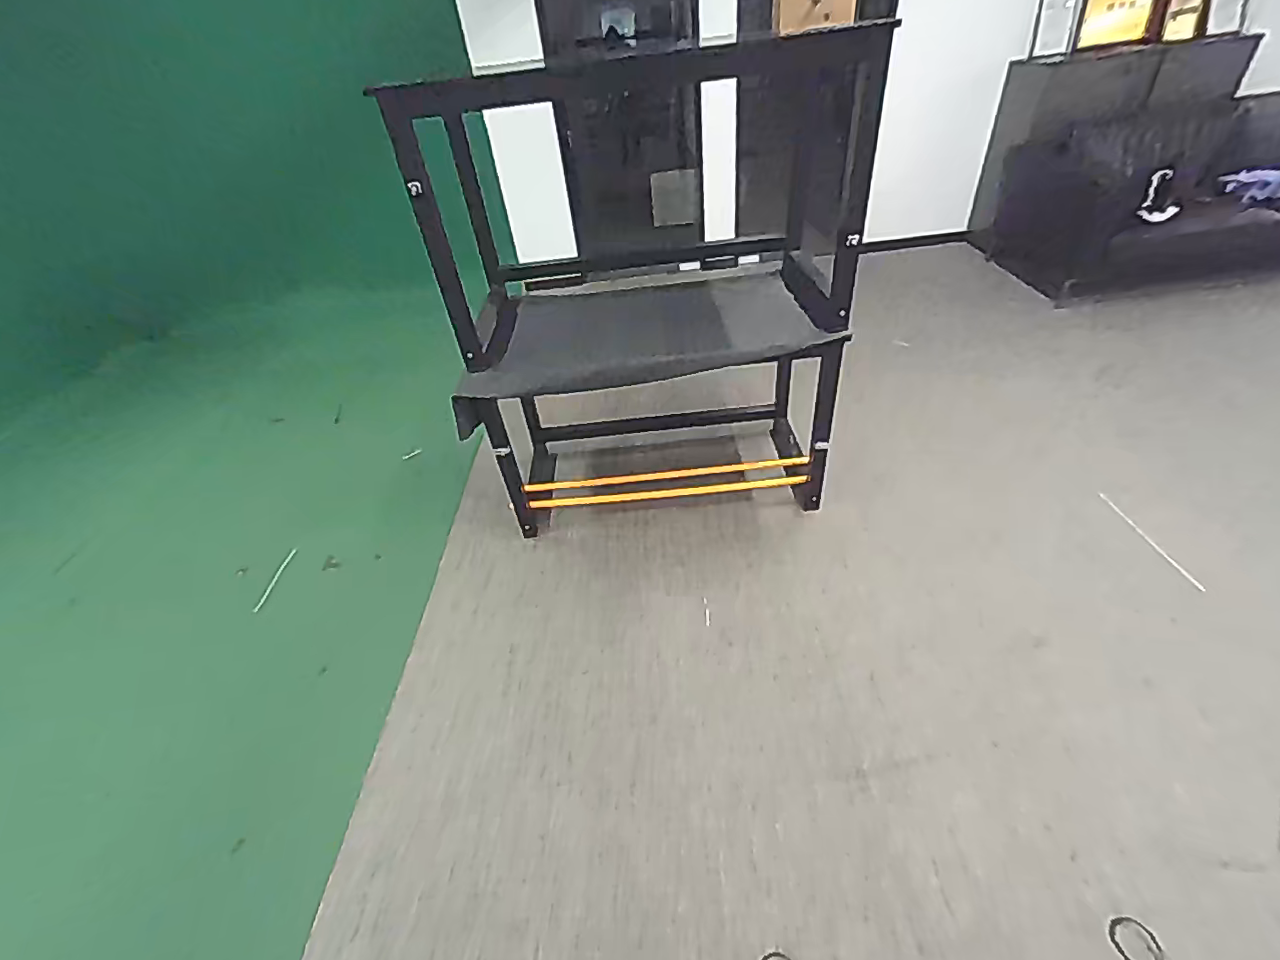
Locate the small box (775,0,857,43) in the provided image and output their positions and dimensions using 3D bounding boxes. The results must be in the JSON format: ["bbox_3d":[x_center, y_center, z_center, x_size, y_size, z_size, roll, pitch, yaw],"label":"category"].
[{"bbox_3d":[0.408,-1.133,1.260,0.168,0.176,0.179,-2,39,8],"label":"small box"}]
